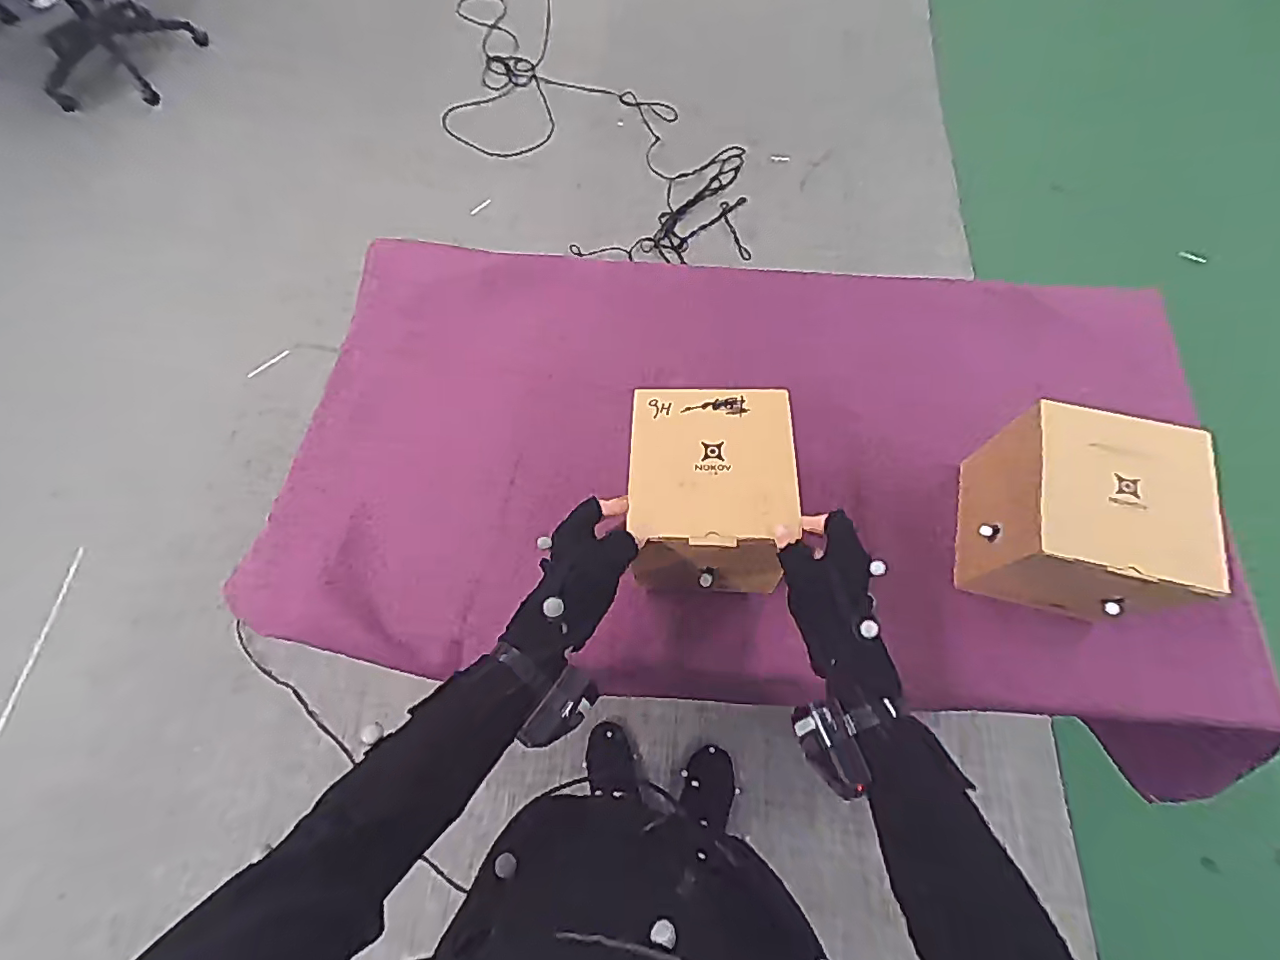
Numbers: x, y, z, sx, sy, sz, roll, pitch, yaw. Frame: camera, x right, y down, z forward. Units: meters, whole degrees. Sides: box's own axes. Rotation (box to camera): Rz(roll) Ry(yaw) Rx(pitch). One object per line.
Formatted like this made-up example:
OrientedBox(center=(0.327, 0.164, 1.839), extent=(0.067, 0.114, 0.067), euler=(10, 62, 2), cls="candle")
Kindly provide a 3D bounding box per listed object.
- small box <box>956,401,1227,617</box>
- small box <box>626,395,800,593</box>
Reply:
OrientedBox(center=(0.478, 0.042, 0.603), extent=(0.168, 0.176, 0.179), euler=(14, 68, 8), cls="small box")
OrientedBox(center=(0.079, 0.023, 0.611), extent=(0.168, 0.176, 0.179), euler=(1, 63, 4), cls="small box")
